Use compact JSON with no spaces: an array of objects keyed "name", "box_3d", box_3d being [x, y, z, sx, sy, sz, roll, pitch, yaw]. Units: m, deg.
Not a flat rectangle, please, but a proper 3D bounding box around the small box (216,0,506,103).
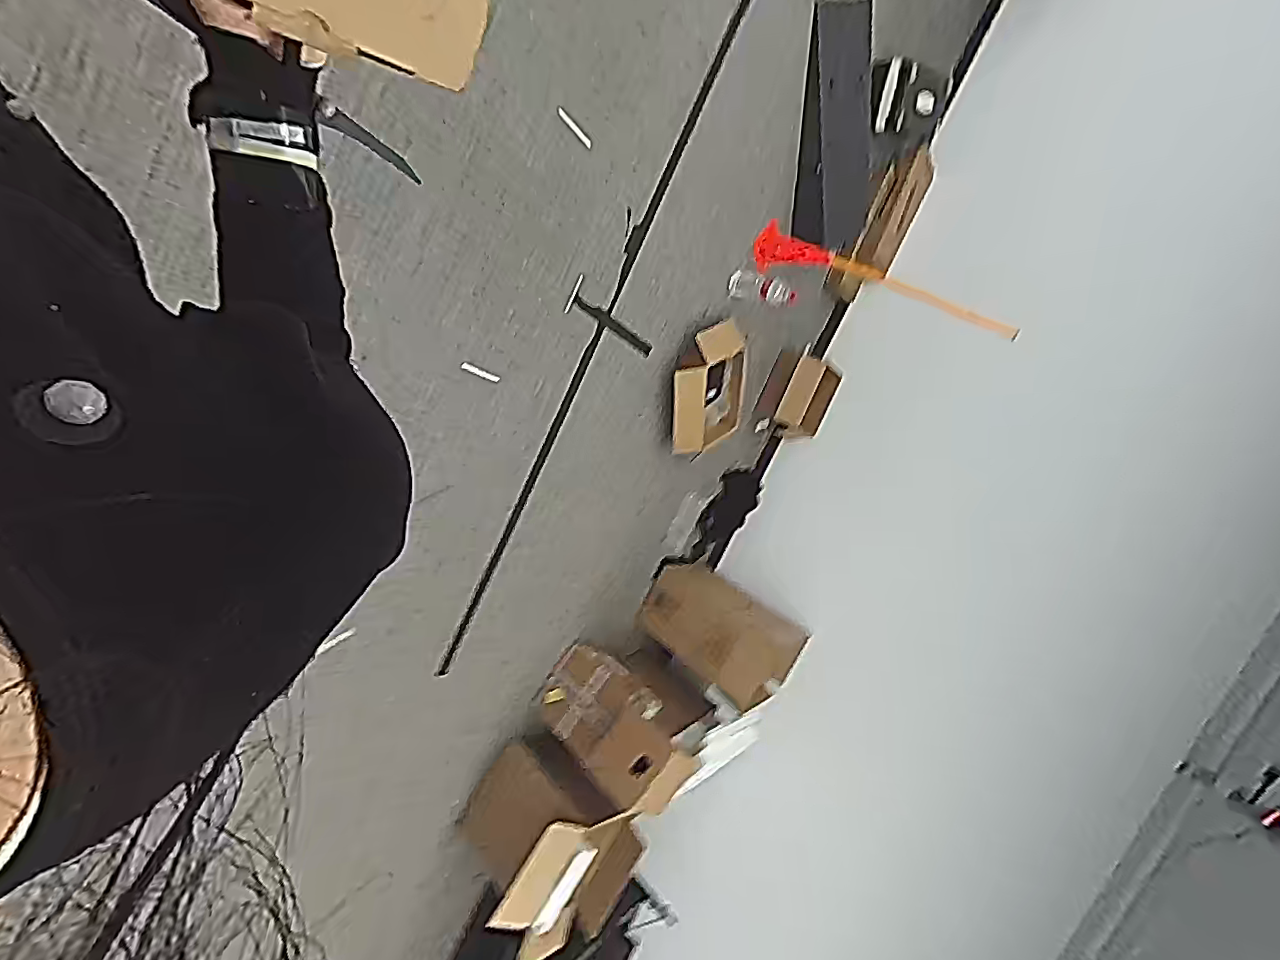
[{"name":"small box","box_3d":[-0.152,-0.314,0.223,0.168,0.176,0.179,-23,155,-54]}]
